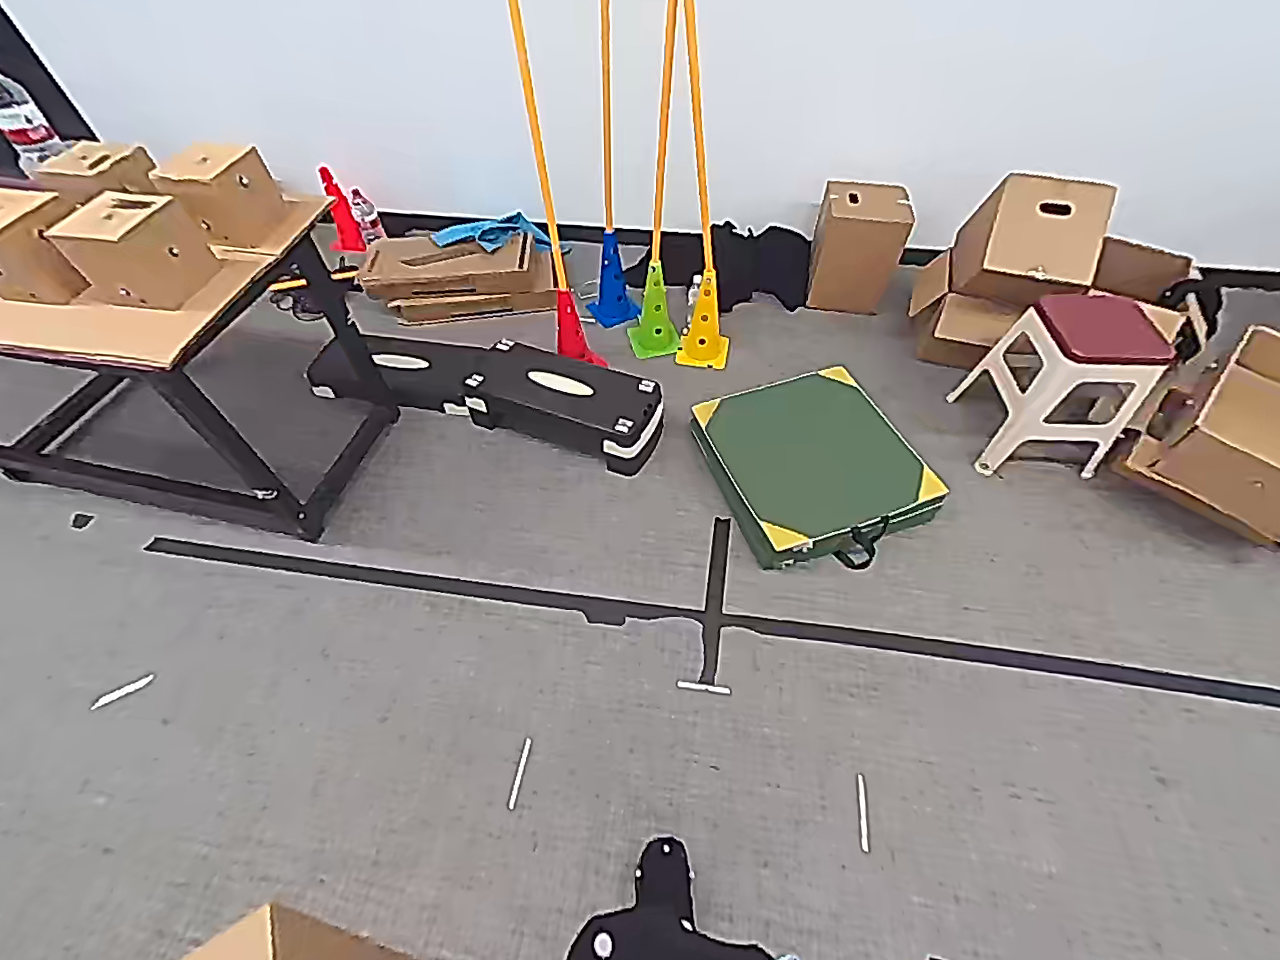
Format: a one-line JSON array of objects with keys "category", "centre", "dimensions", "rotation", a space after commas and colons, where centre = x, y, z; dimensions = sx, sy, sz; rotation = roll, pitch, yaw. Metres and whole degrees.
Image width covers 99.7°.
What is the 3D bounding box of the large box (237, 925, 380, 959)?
[{"category": "large box", "centre": [-0.399, 0.766, 0.557], "dimensions": [0.320, 0.408, 0.320], "rotation": [-28, 42, -18]}]
